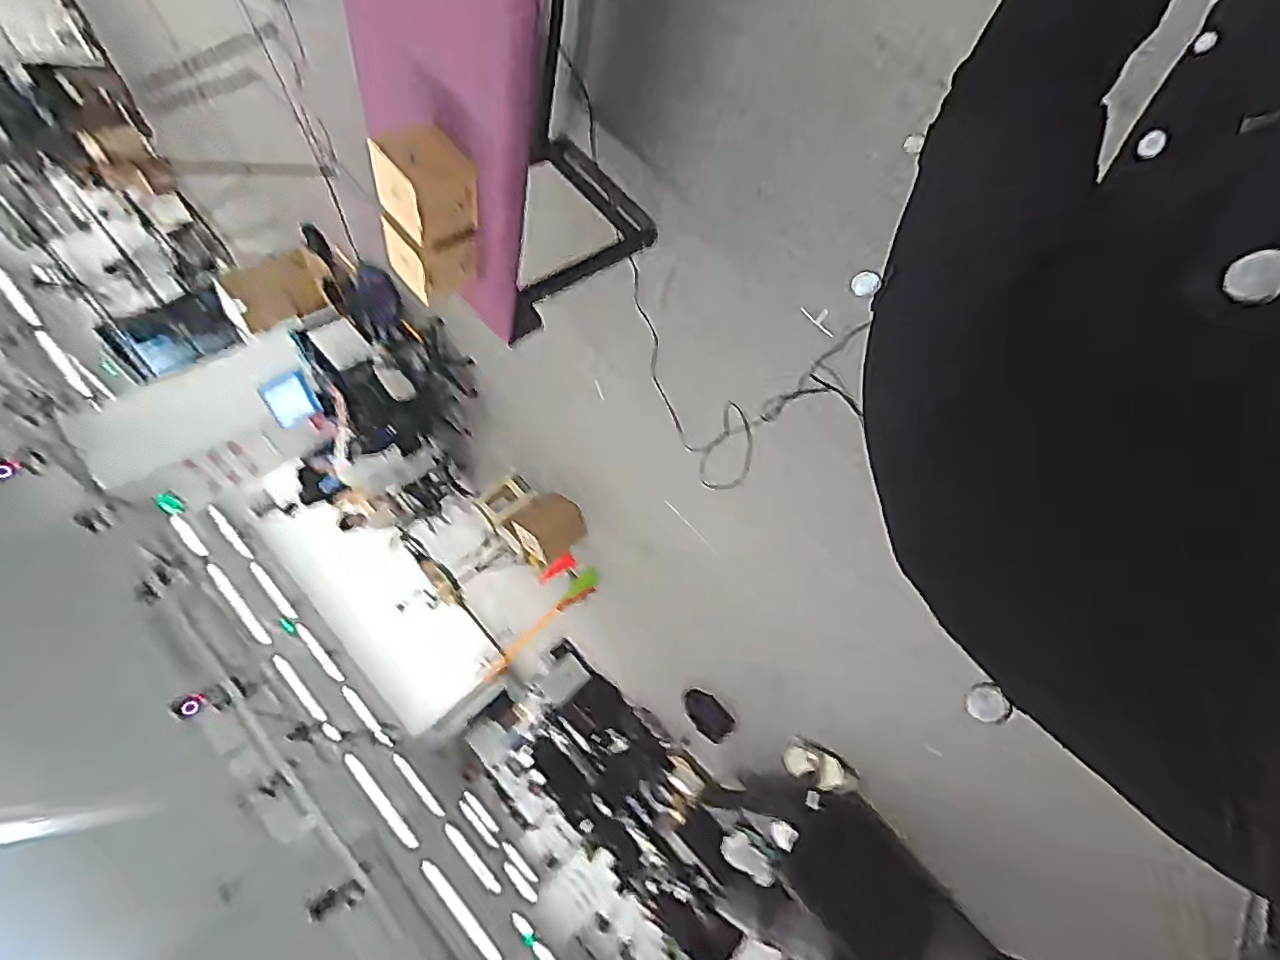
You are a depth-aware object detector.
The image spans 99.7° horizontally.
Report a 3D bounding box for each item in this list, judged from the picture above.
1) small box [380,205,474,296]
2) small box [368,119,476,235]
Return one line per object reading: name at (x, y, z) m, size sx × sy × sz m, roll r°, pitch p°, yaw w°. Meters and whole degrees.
small box at (-0.579, -0.650, 1.487) m, size 0.179 × 0.176 × 0.168 m, roll 47°, pitch 152°, yaw 9°
small box at (-0.521, -0.738, 1.308) m, size 0.179 × 0.176 × 0.168 m, roll 47°, pitch 151°, yaw 8°
